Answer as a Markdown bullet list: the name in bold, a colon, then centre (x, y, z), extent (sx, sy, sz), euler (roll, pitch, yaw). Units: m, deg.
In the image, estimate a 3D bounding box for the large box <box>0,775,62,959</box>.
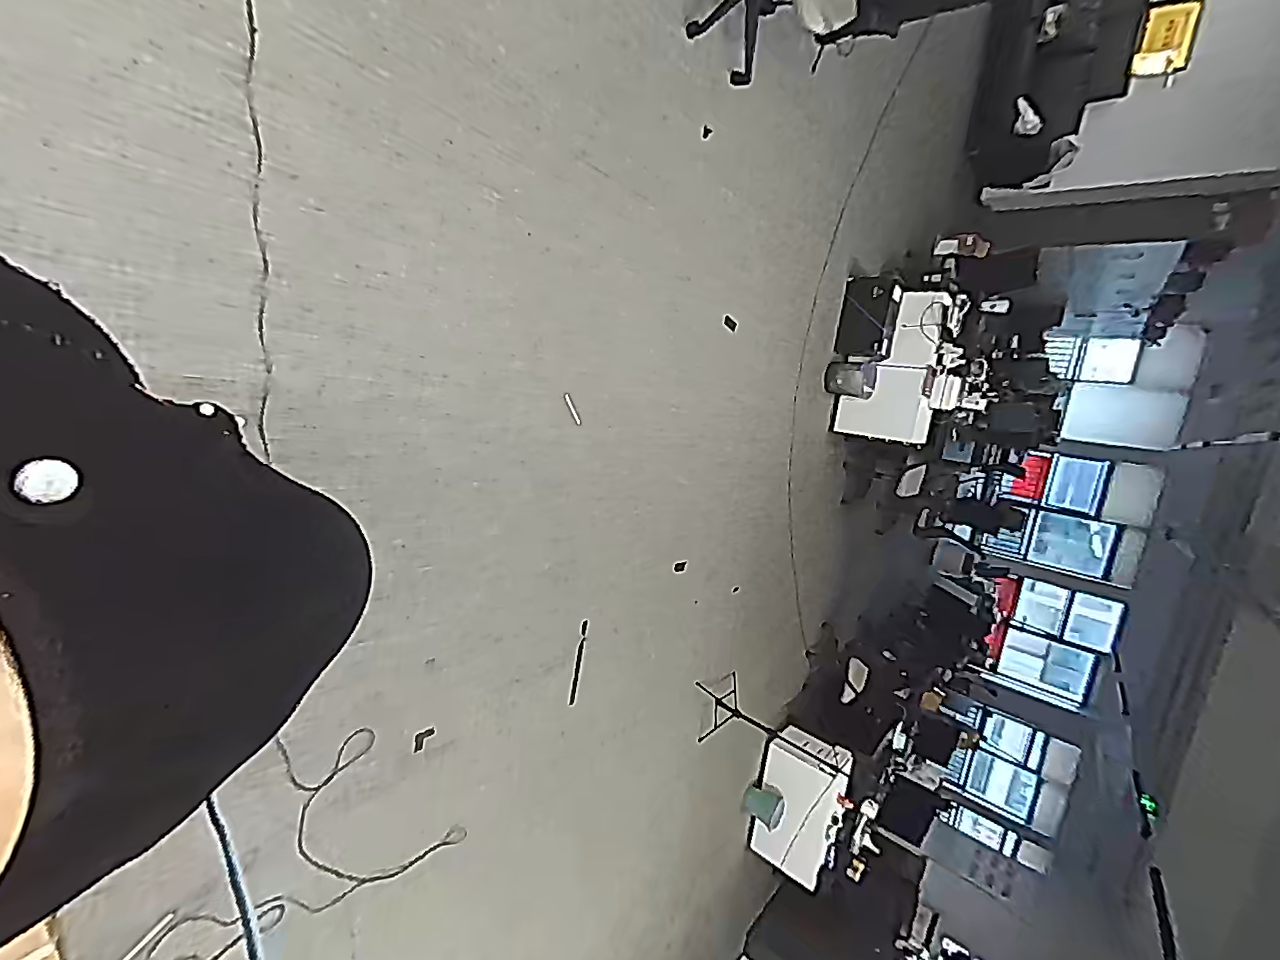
- **large box**: centre (-1.296, 0.802, 0.901), extent (0.408, 0.320, 0.320), euler (-14, 112, -49)
